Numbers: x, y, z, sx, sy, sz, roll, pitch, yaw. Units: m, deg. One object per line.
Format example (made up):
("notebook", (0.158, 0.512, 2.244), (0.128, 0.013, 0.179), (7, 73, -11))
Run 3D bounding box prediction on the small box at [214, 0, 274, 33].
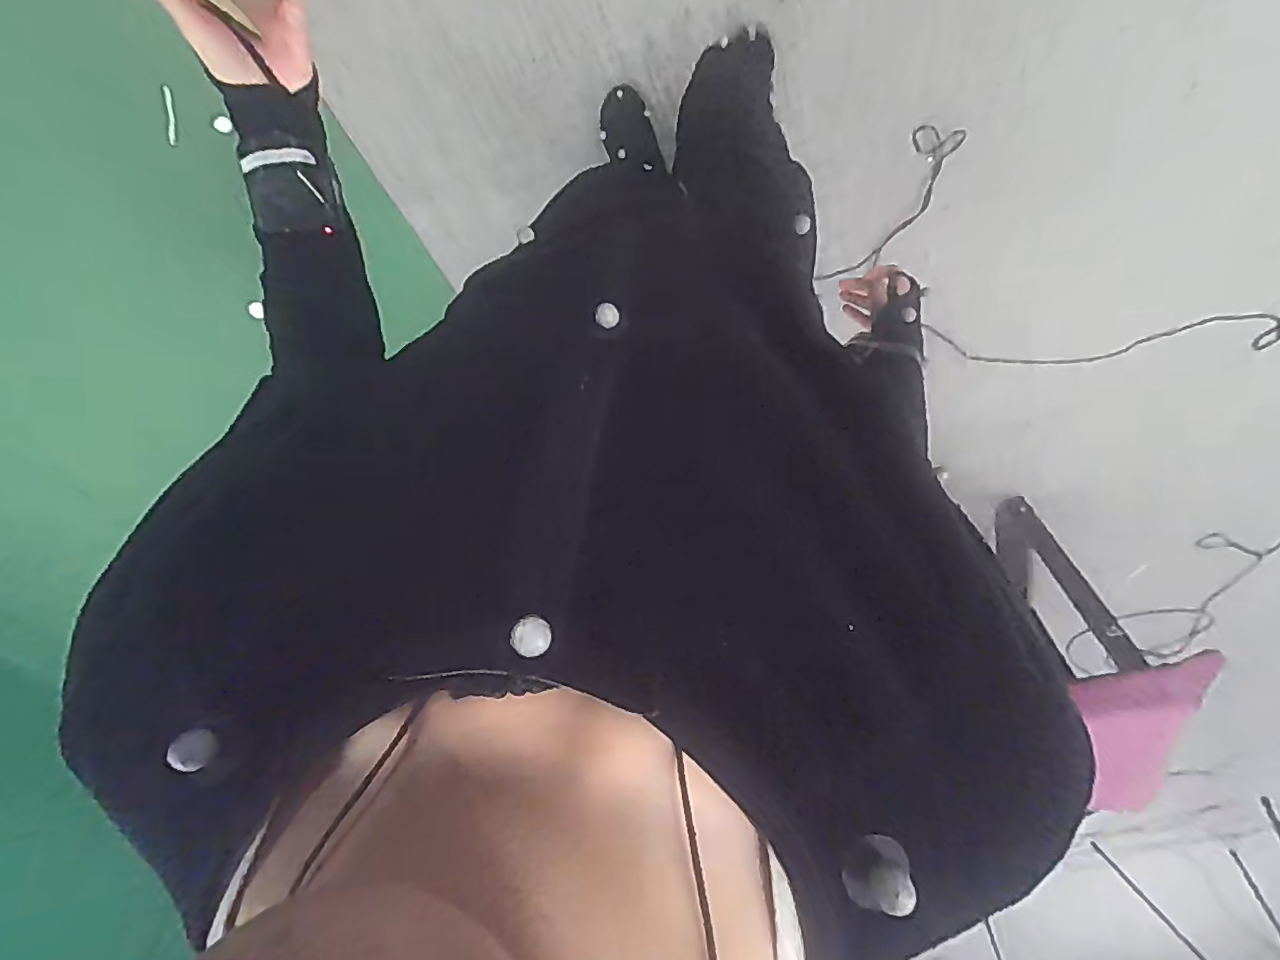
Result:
("small box", (-0.264, -0.384, 0.263), (0.168, 0.179, 0.176), (21, 105, -30))
